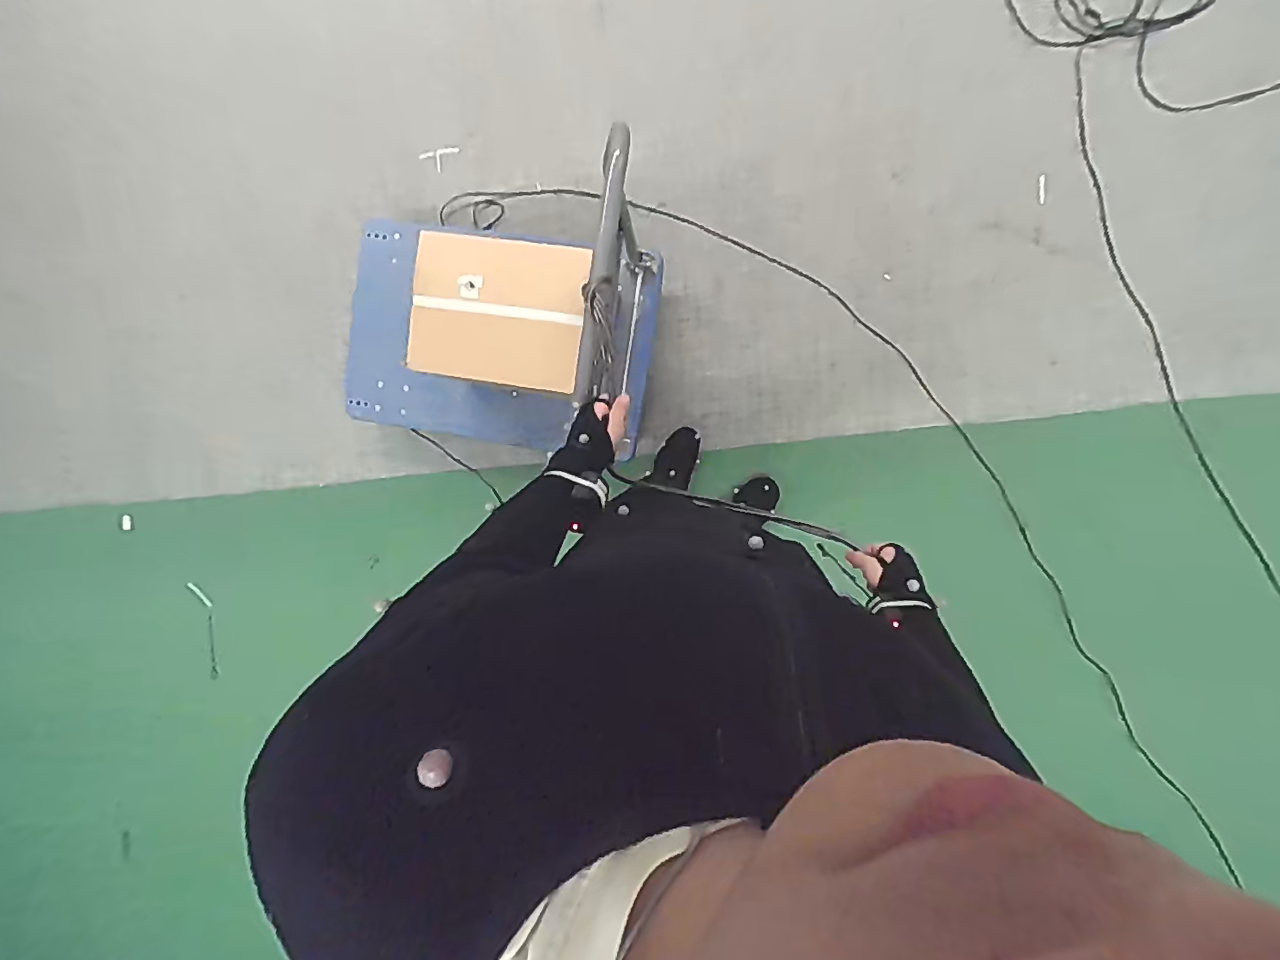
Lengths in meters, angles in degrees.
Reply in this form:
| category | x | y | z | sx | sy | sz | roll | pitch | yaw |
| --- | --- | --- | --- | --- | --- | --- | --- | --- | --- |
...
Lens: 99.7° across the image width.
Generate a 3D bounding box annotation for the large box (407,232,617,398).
| category | x | y | z | sx | sy | sz | roll | pitch | yaw |
| --- | --- | --- | --- | --- | --- | --- | --- | --- | --- |
| large box | -0.292 | -0.384 | 1.331 | 0.408 | 0.320 | 0.320 | 9 | 95 | 8 |
